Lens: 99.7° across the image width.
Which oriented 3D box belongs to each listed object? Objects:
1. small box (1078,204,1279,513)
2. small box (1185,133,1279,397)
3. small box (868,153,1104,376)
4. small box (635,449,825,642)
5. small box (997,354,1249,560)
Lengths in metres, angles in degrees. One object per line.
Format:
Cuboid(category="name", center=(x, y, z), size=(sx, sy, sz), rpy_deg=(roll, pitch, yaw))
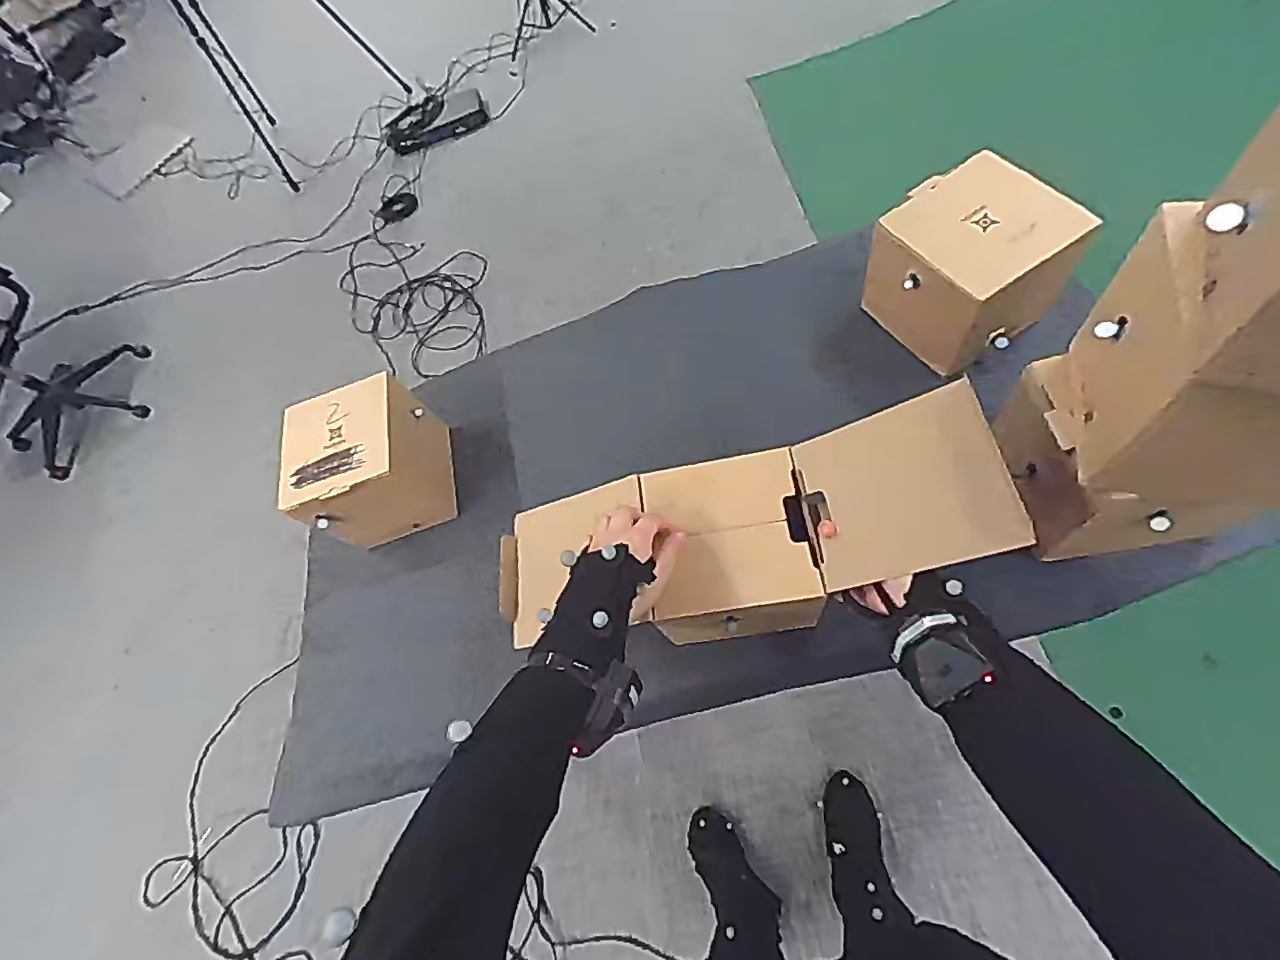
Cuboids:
Cuboid(category="small box", center=(0.475, -0.086, 0.419), size=(0.179, 0.176, 0.168), rpy_deg=(8, 65, 19))
Cuboid(category="small box", center=(0.437, -0.140, 0.266), size=(0.179, 0.176, 0.168), rpy_deg=(18, 69, 23))
Cuboid(category="small box", center=(0.425, -0.272, 0.707), size=(0.168, 0.176, 0.179), rpy_deg=(-33, 64, 1))
Cuboid(category="small box", center=(0.102, 0.086, 0.625), size=(0.179, 0.176, 0.168), rpy_deg=(-10, 65, 9))
Cuboid(category="small box", center=(0.509, -0.027, 0.568), size=(0.179, 0.176, 0.168), rpy_deg=(-12, 61, 10))
